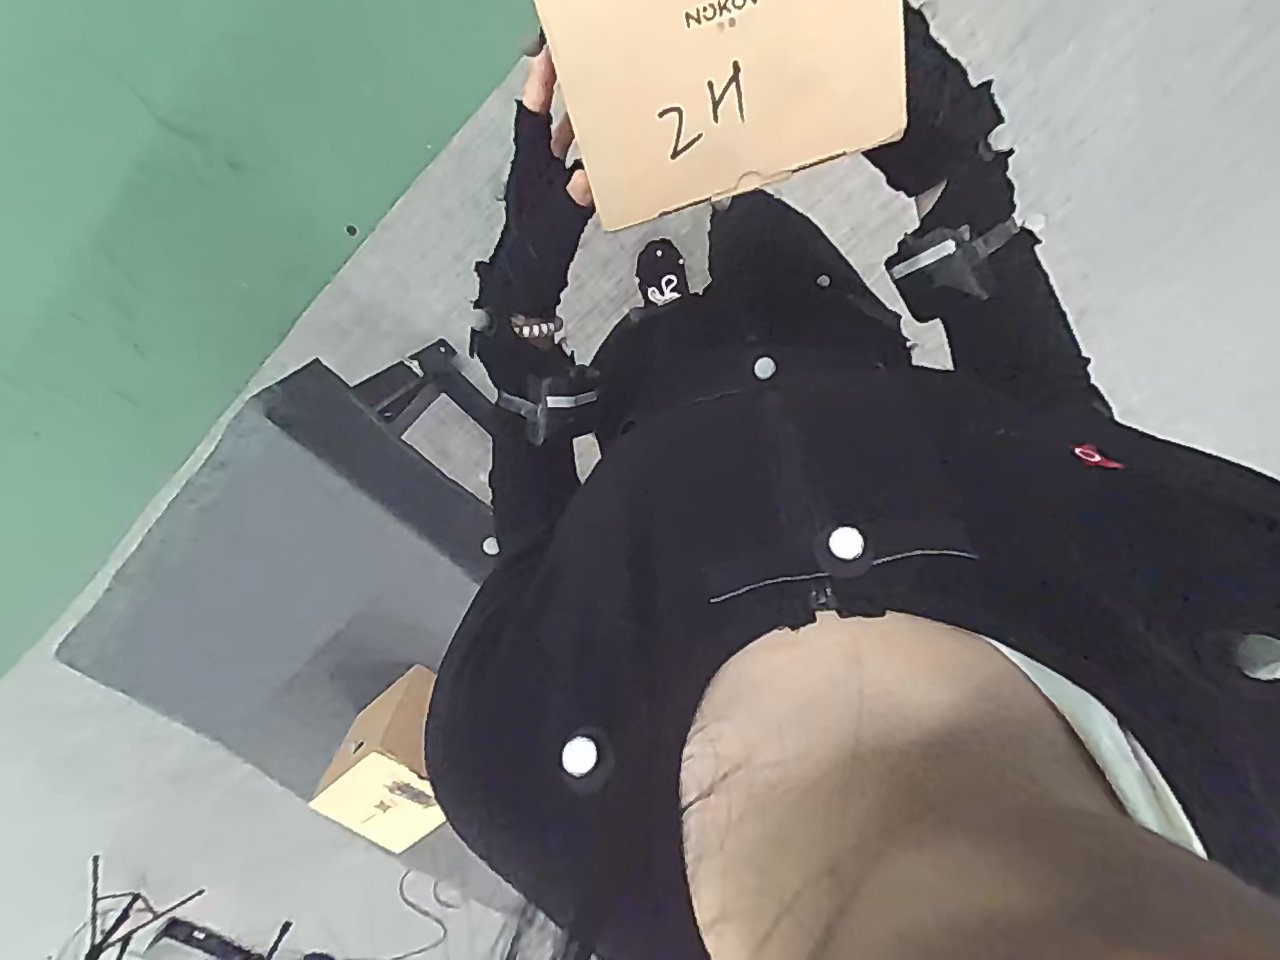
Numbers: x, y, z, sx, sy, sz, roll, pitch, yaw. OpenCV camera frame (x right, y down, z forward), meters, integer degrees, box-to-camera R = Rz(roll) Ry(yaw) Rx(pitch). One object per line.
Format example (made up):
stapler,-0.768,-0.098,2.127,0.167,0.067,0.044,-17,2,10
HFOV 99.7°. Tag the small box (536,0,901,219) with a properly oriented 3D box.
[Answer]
small box,0.029,-0.271,0.313,0.168,0.176,0.179,-15,120,7

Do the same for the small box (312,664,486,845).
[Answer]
small box,-0.371,0.435,0.873,0.179,0.176,0.168,-40,109,18
